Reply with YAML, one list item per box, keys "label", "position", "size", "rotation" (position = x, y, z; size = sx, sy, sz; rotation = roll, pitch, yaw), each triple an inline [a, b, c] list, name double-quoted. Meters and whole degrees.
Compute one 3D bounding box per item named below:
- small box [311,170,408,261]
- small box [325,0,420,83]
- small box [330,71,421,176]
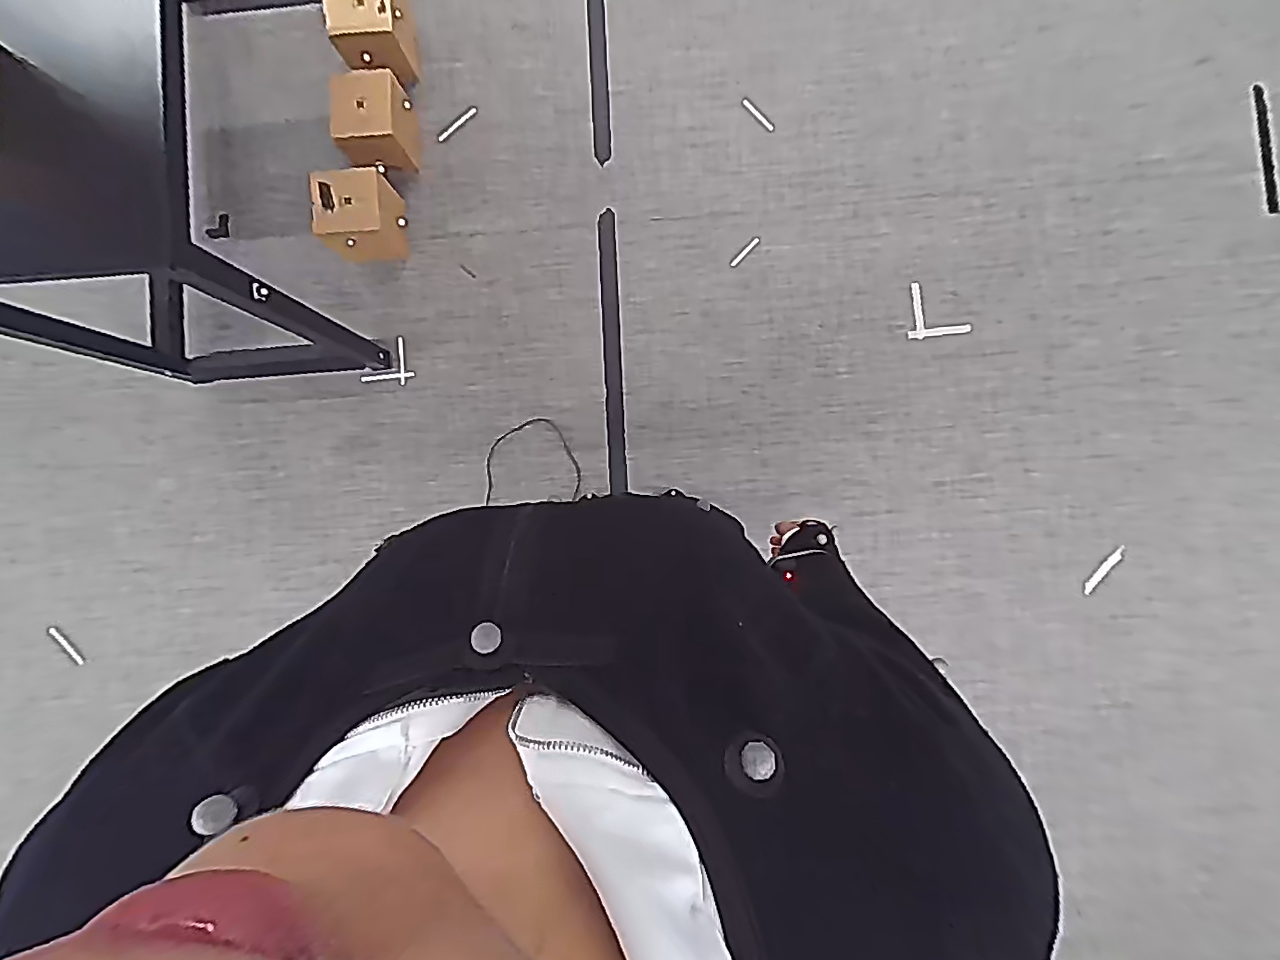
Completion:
- label: "small box"
  position: [-0.757, -0.712, 1.472]
  size: [0.179, 0.176, 0.168]
  rotation: [-4, 89, 1]
- label: "small box"
  position: [-0.730, -1.229, 1.487]
  size: [0.179, 0.176, 0.168]
  rotation: [-4, 89, 2]
- label: "small box"
  position: [-0.719, -0.967, 1.480]
  size: [0.168, 0.176, 0.179]
  rotation: [-4, 88, 2]
